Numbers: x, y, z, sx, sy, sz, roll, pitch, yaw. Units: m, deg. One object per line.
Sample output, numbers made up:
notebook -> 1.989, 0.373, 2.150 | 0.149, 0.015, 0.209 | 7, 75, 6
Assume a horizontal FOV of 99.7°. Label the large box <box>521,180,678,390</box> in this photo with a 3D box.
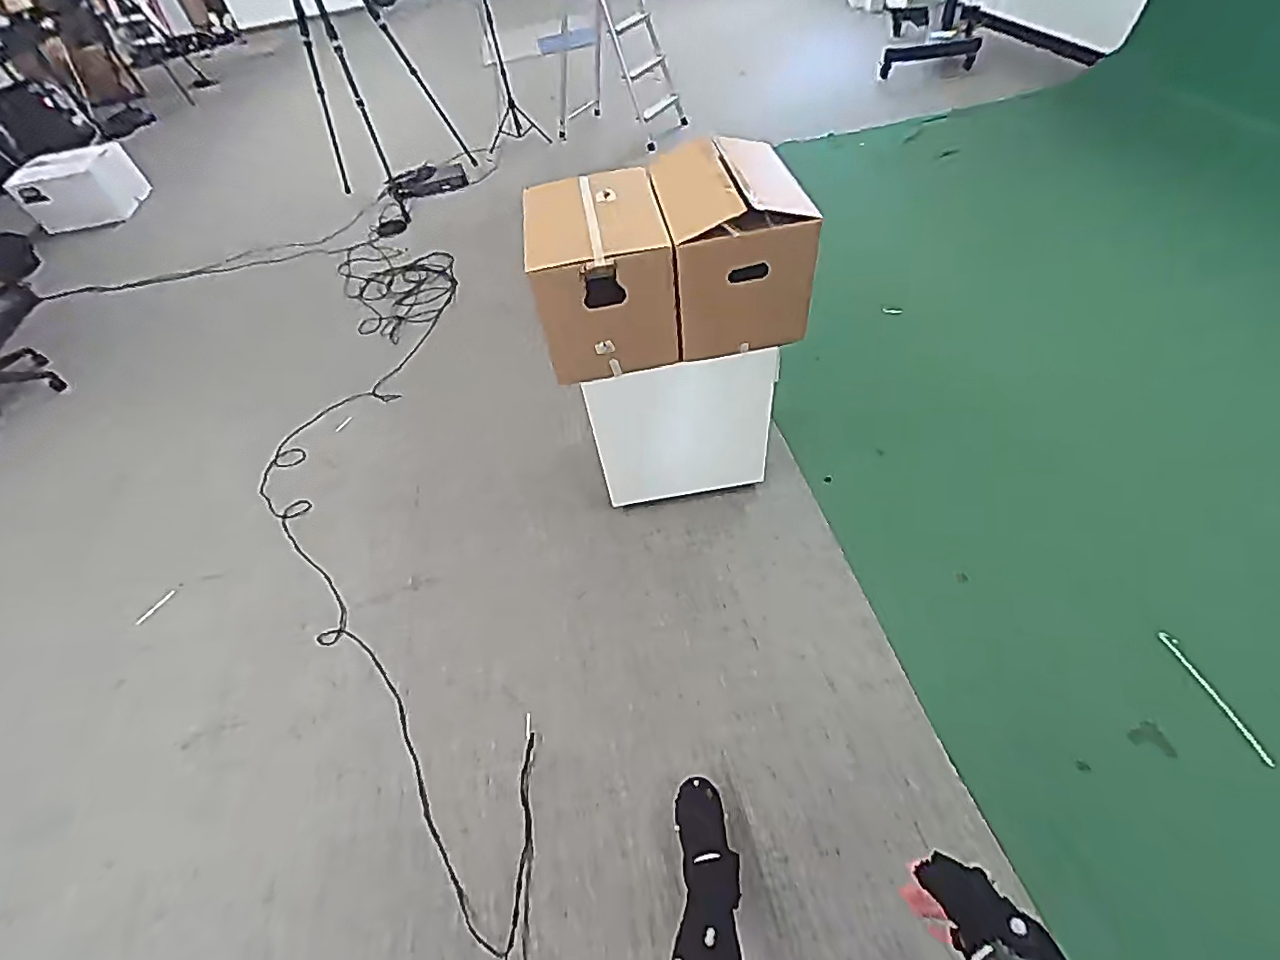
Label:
large box -> -0.102, -0.491, 1.360 | 0.320, 0.320, 0.408 | -11, 50, -1
